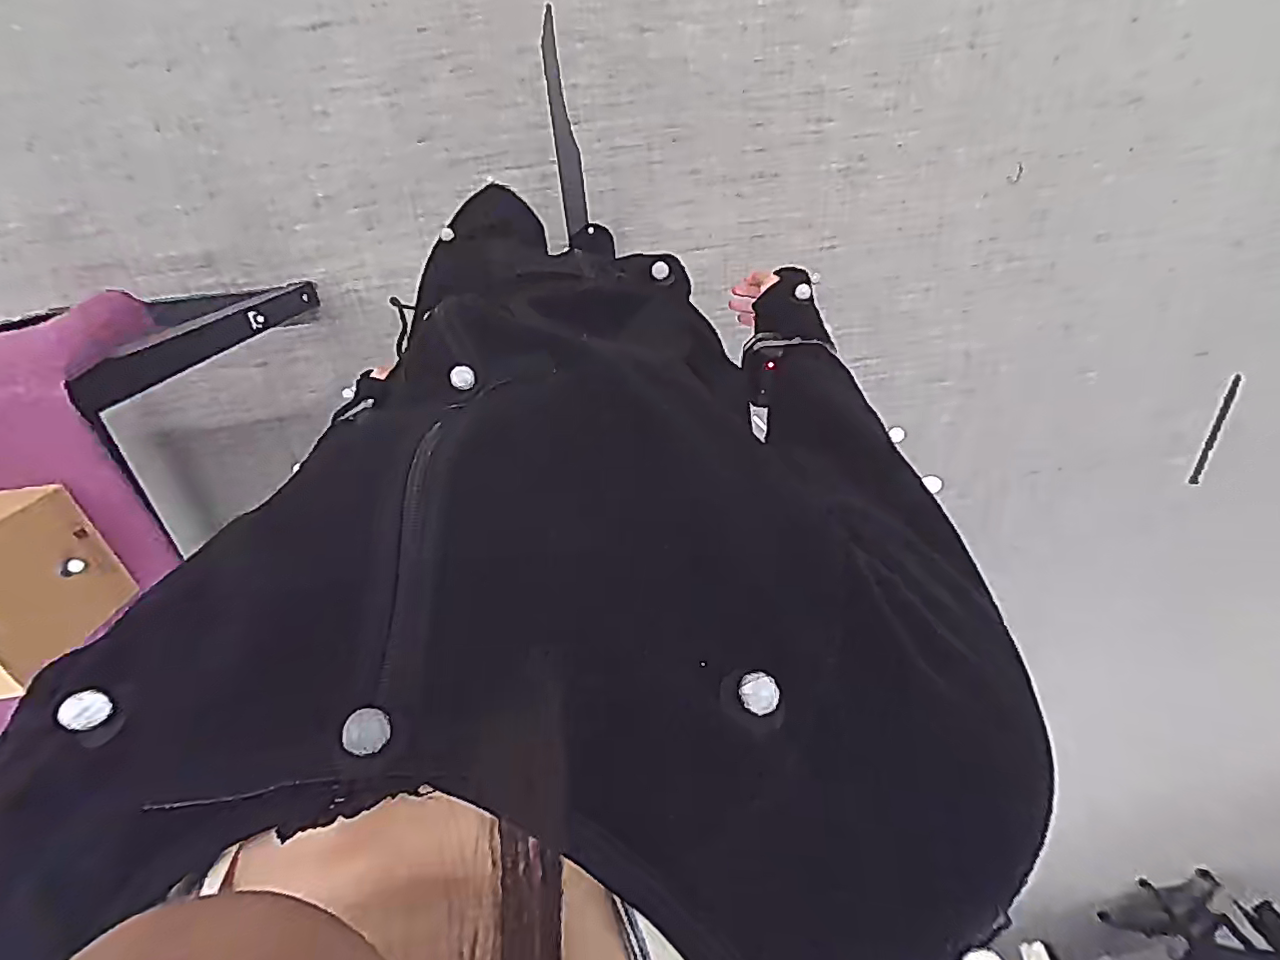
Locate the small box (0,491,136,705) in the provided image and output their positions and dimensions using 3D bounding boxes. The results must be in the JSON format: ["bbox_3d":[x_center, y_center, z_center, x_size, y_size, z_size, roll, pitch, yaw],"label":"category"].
[{"bbox_3d":[-0.735,0.129,0.593,0.179,0.176,0.168,-8,121,-2],"label":"small box"}]
